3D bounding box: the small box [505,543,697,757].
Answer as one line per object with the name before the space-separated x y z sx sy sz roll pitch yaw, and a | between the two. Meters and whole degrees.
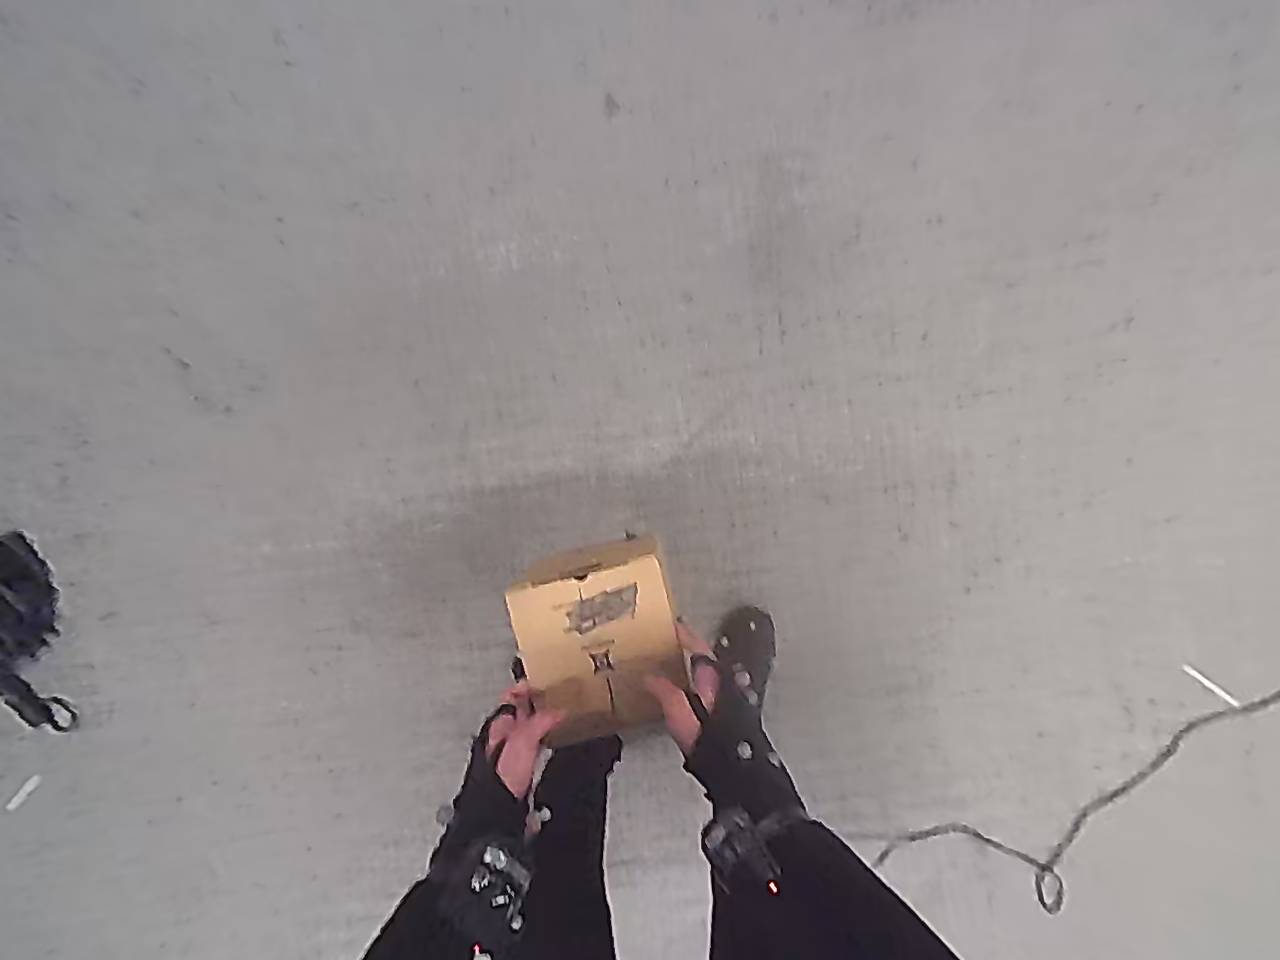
small box | -0.039 0.179 0.629 0.168 0.176 0.179 -15 93 3
